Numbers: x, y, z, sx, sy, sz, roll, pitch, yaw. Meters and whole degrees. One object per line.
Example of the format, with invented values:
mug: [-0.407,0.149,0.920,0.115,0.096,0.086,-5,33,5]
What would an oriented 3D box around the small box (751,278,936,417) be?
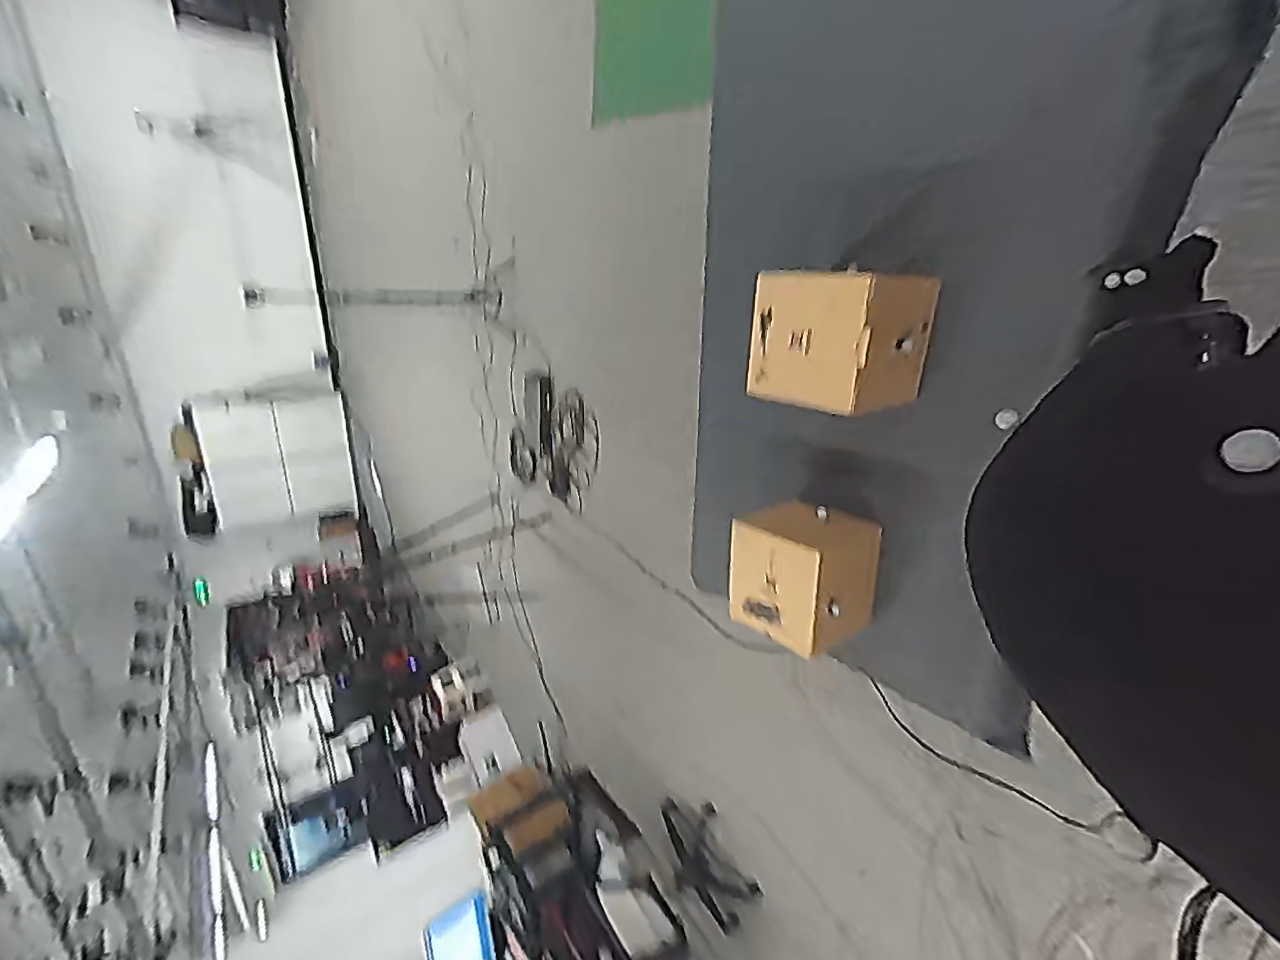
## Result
small box: [0.284,-0.195,0.761,0.179,0.176,0.168,24,120,47]

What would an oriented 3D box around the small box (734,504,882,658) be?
small box: [0.274,0.153,0.886,0.168,0.176,0.179,18,114,50]
